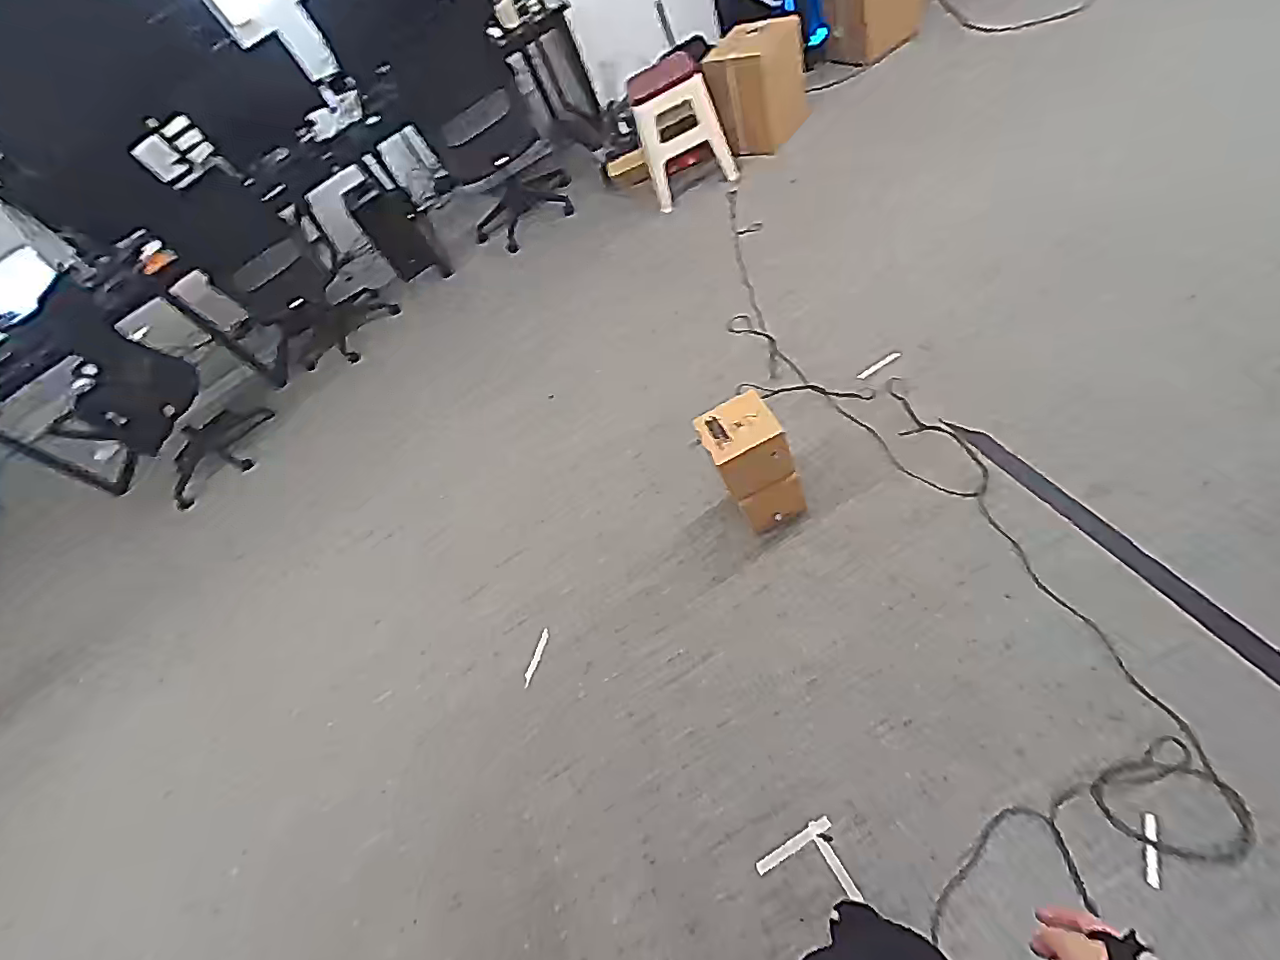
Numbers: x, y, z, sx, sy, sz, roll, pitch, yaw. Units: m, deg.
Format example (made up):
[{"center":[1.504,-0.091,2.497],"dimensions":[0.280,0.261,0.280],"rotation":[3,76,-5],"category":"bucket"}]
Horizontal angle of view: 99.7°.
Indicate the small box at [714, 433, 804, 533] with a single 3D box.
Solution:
[{"center":[0.324,0.011,1.471],"dimensions":[0.168,0.176,0.179],"rotation":[-28,51,6],"category":"small box"}]
